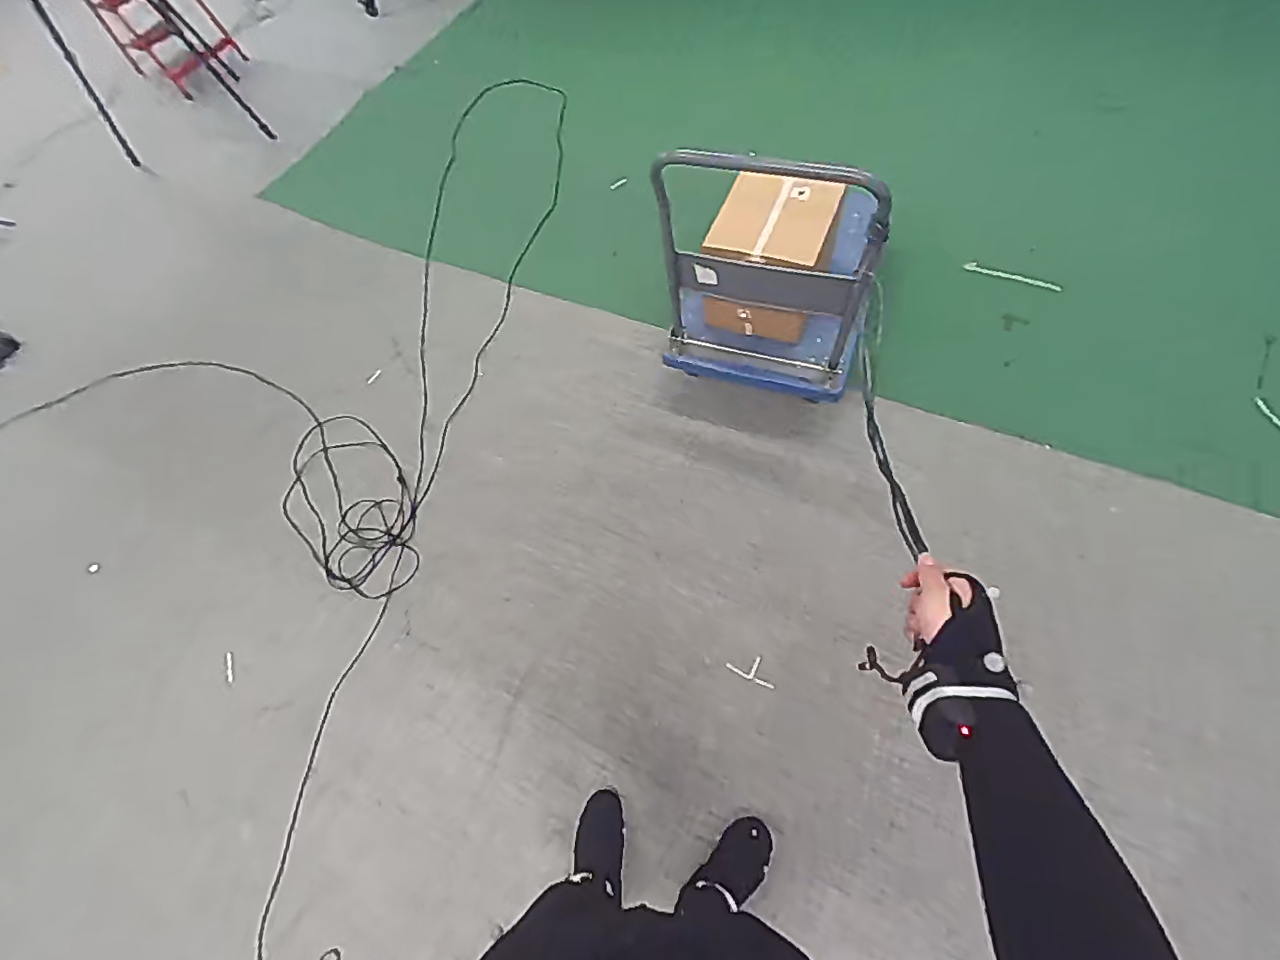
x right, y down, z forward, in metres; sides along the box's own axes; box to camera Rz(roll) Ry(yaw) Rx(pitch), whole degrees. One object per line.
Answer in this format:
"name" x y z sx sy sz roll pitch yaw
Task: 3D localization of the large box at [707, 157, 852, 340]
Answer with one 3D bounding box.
"large box" 0.417 -0.702 1.651 0.320 0.320 0.408 19 67 16
